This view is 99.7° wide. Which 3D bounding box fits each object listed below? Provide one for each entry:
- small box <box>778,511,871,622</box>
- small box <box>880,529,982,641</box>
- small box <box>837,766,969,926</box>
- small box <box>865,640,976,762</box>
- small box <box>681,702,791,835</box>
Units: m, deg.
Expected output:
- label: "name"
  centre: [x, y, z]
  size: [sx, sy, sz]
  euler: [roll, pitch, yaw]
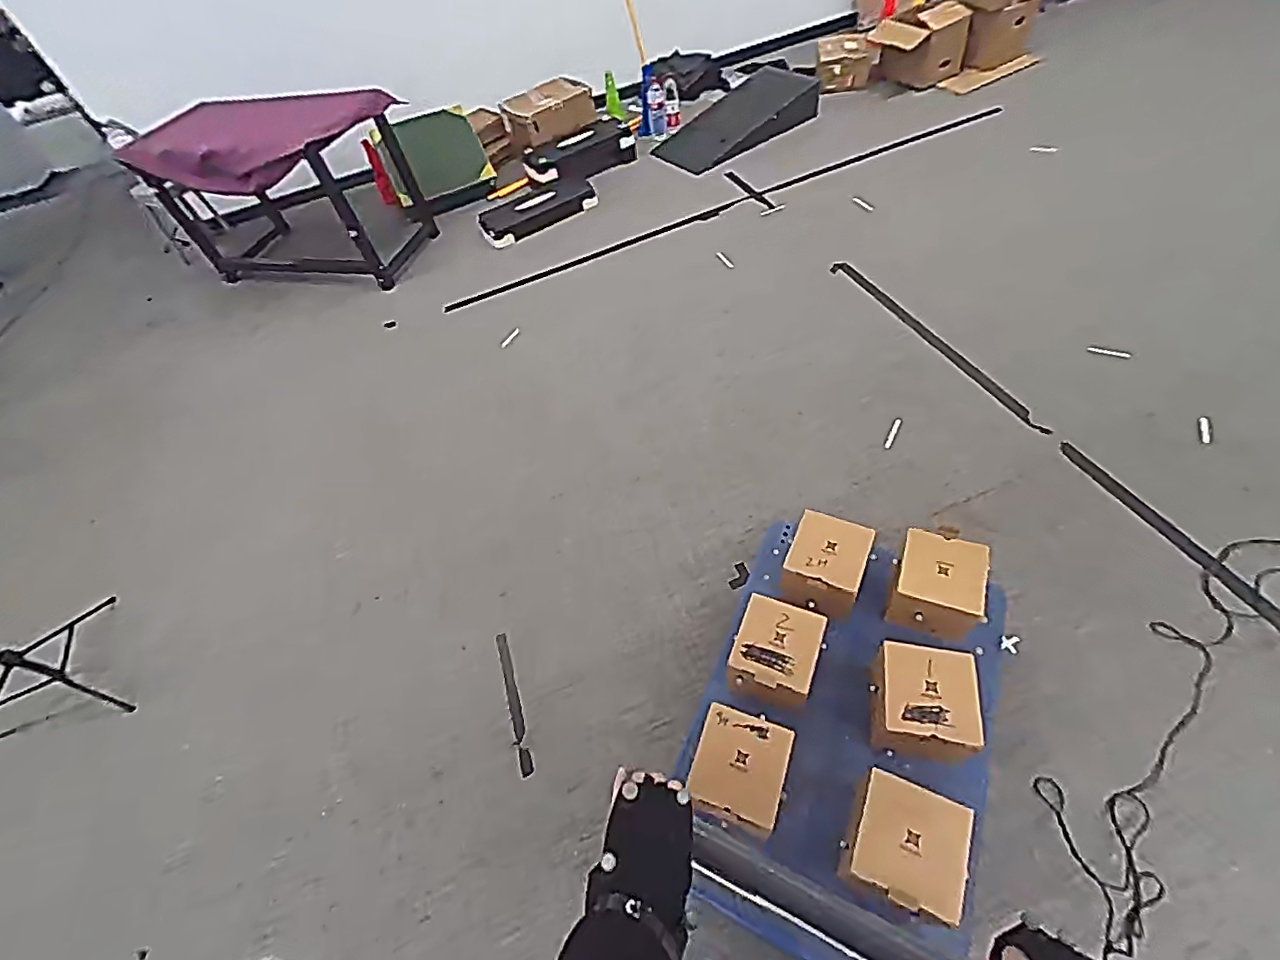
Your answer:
- label: "small box"
  centre: [0.439, 0.210, 1.307]
  size: [0.168, 0.176, 0.179]
  euler: [18, 59, 23]
- label: "small box"
  centre: [0.663, 0.245, 1.242]
  size: [0.168, 0.176, 0.179]
  euler: [14, 57, 20]
- label: "small box"
  centre: [0.461, 0.651, 0.968]
  size: [0.168, 0.176, 0.179]
  euler: [18, 57, 21]
- label: "small box"
  centre: [0.561, 0.453, 1.100]
  size: [0.168, 0.176, 0.179]
  euler: [7, 54, 15]
- label: "small box"
  centre: [0.193, 0.576, 1.073]
  size: [0.168, 0.176, 0.179]
  euler: [14, 57, 19]
